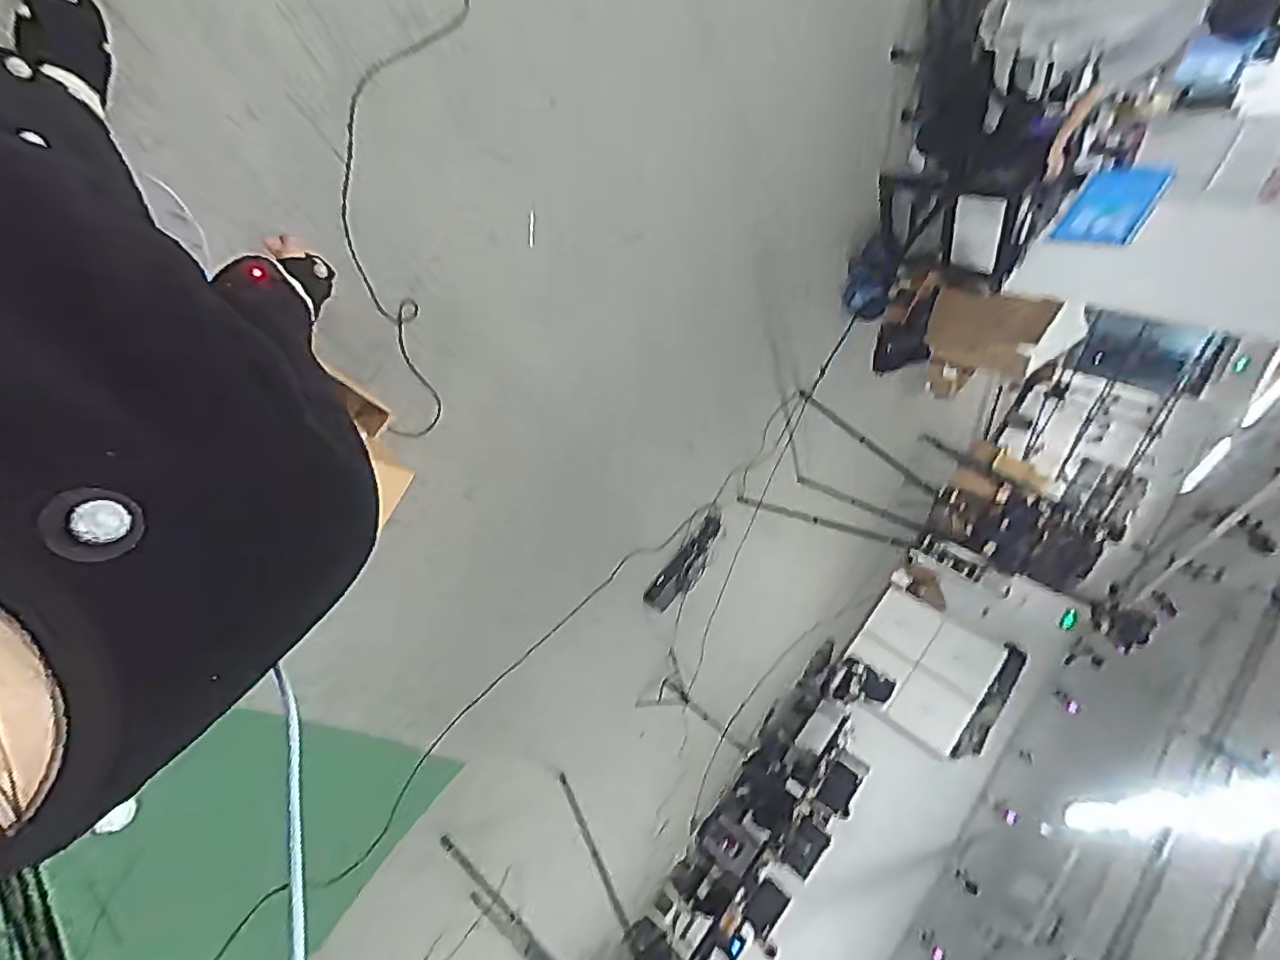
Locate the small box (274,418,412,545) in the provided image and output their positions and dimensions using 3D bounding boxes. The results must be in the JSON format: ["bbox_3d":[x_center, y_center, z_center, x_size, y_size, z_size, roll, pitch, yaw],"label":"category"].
[{"bbox_3d":[-0.608,0.002,1.097,0.179,0.176,0.168,-58,144,1],"label":"small box"}]
